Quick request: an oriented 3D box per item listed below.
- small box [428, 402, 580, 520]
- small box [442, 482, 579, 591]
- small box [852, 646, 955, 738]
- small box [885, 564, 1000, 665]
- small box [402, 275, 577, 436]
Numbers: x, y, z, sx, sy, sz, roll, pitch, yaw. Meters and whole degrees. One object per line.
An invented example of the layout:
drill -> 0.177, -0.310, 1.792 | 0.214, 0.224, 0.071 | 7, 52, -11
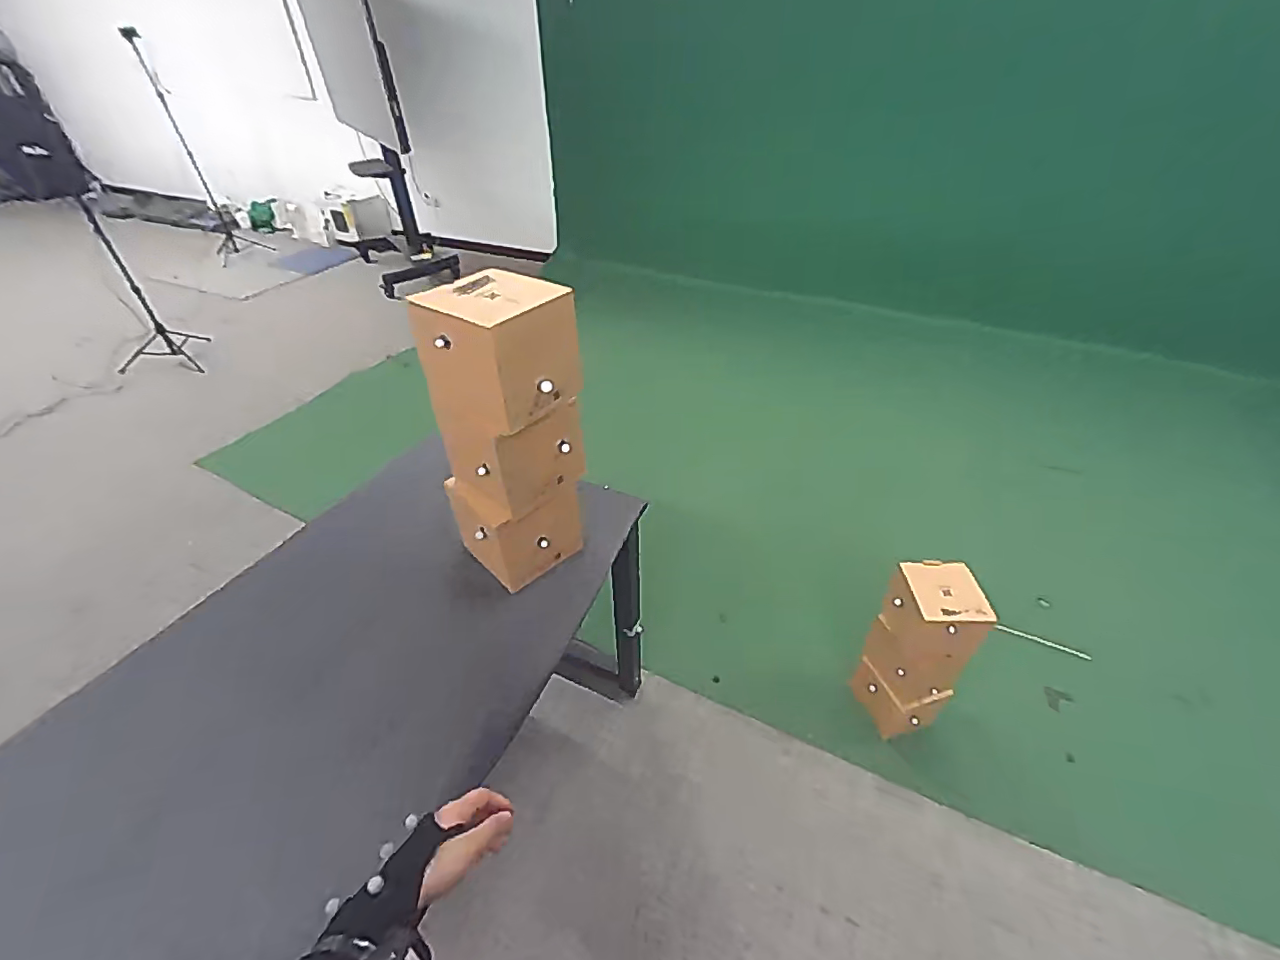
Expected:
small box -> -0.217, -0.056, 0.906 | 0.179, 0.176, 0.168 | 26, 46, 33
small box -> -0.231, 0.078, 0.998 | 0.168, 0.176, 0.179 | -32, 46, -32
small box -> 0.726, 0.593, 1.510 | 0.168, 0.176, 0.179 | -13, 40, -13
small box -> 0.722, 0.326, 1.317 | 0.168, 0.176, 0.179 | 0, 39, 1
small box -> -0.213, -0.187, 0.805 | 0.179, 0.176, 0.168 | 23, 45, 27
